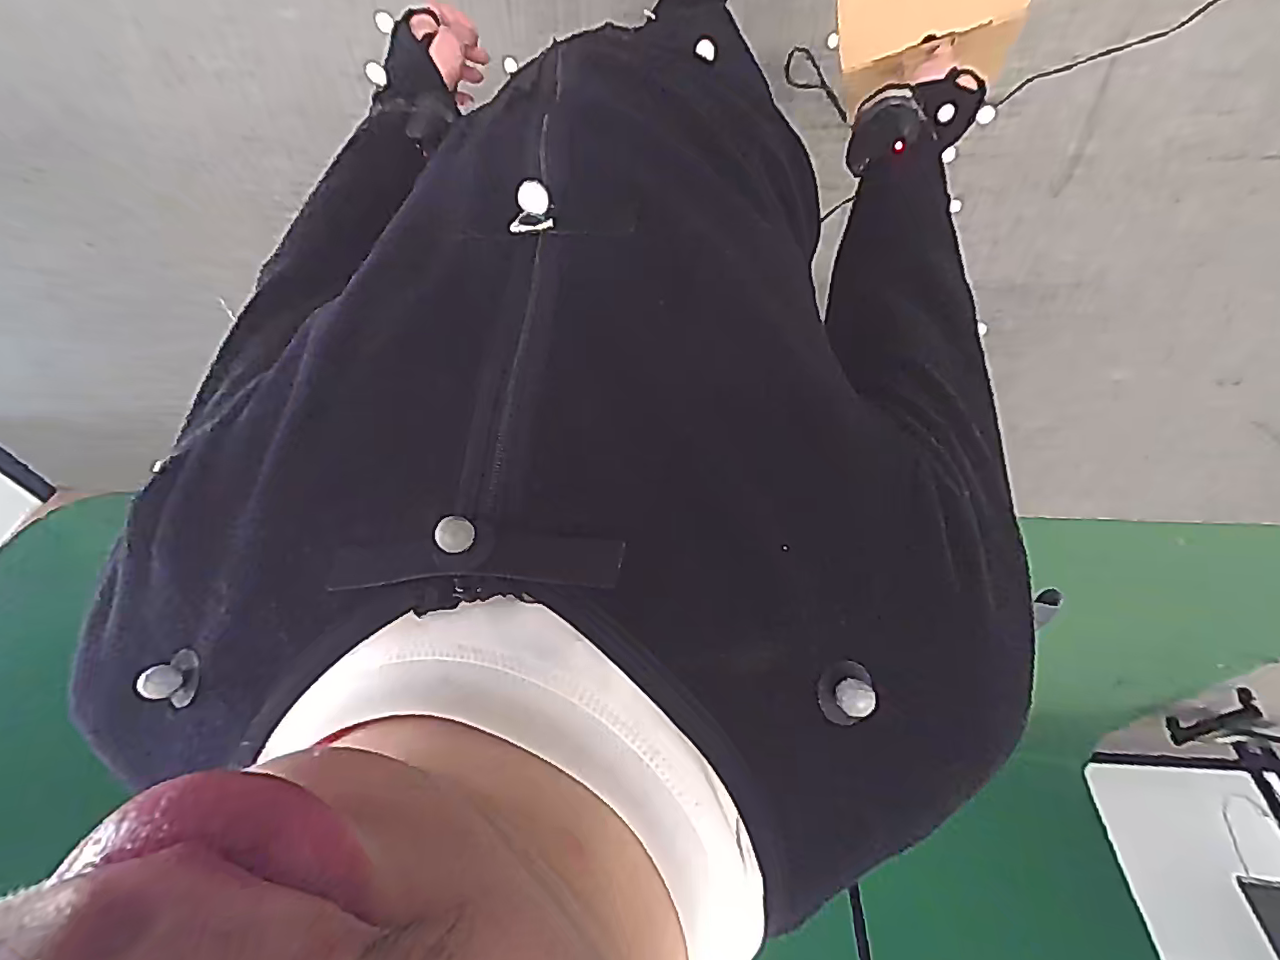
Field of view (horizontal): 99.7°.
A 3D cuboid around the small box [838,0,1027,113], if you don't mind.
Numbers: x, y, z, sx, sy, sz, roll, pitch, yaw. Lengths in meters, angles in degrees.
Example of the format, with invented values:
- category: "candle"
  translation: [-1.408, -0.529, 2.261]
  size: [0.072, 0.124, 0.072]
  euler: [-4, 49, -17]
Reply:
- category: "small box"
  translation: [0.305, -0.529, 0.583]
  size: [0.168, 0.176, 0.179]
  euler: [-2, 104, 23]
